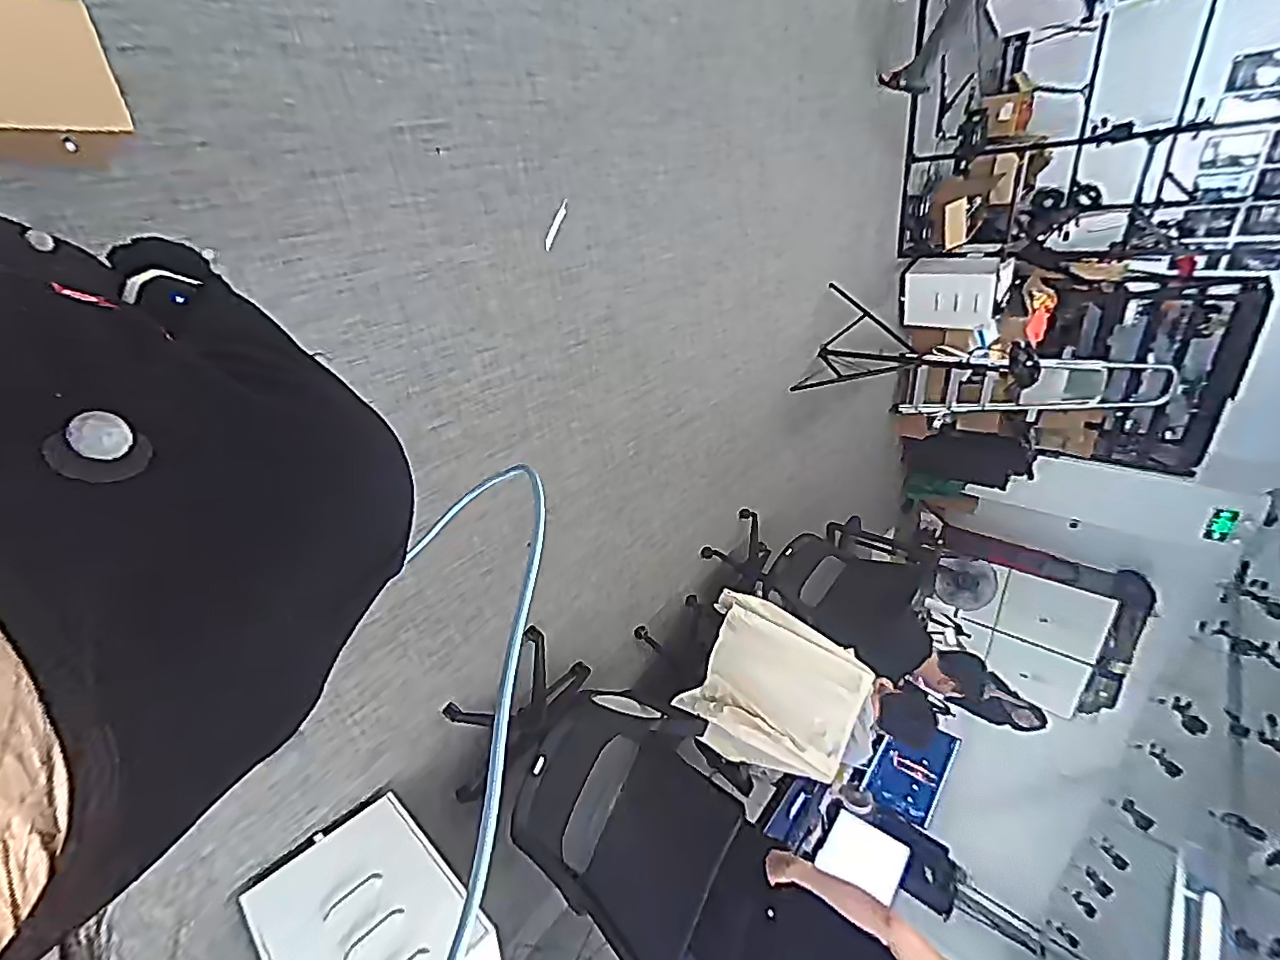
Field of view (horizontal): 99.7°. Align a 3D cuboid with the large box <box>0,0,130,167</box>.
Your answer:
[{"bbox_3d":[-0.965,-0.569,0.656,0.408,0.320,0.320,-30,124,-40],"label":"large box"}]
